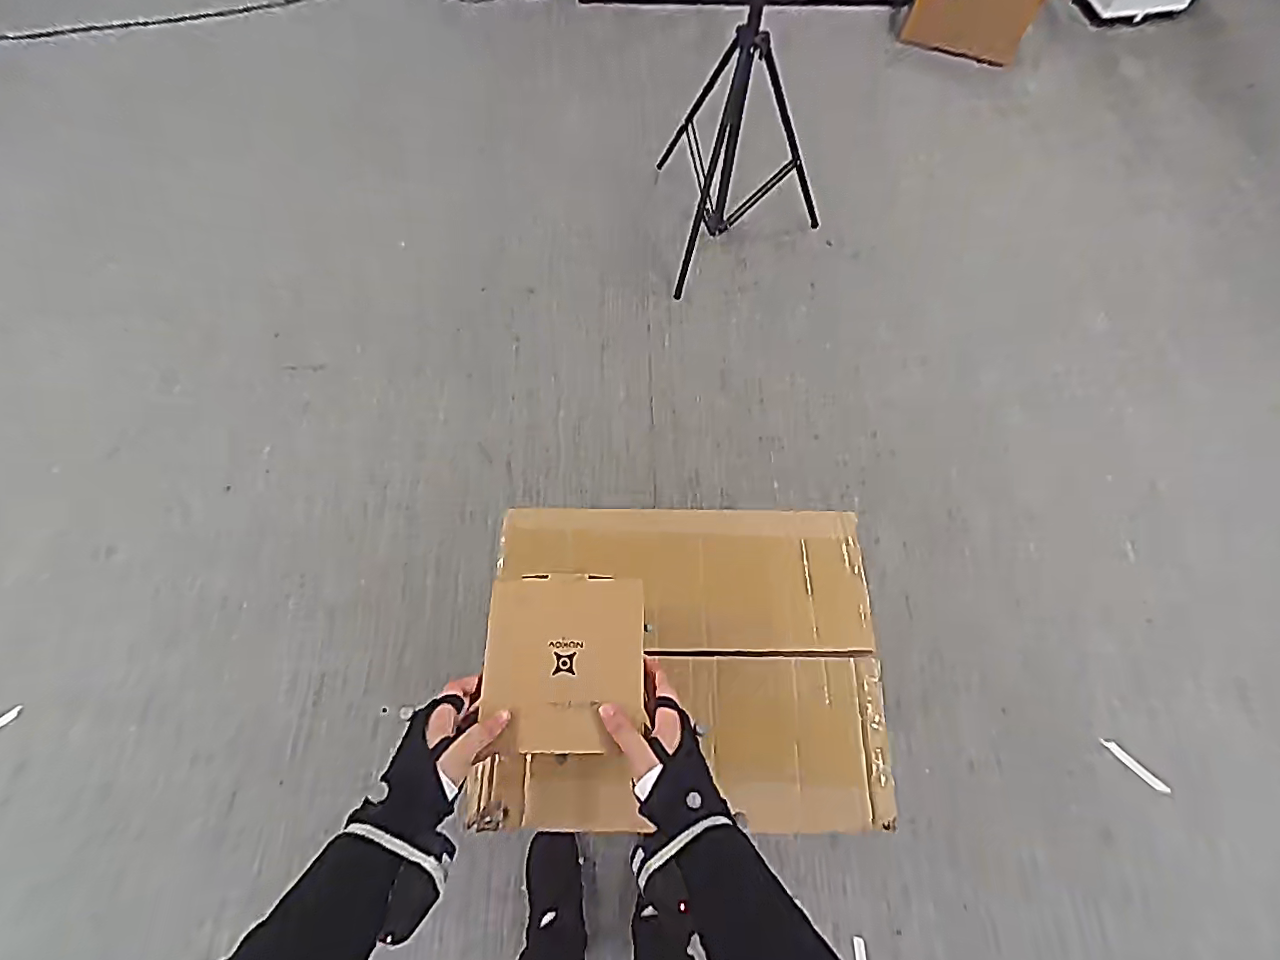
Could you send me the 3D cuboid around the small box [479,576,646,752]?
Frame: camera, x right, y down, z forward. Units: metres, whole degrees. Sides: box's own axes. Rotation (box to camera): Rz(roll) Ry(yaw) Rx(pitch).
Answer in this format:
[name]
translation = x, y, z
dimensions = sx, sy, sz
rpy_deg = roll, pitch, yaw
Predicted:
[small box]
translation = -0.079, 0.218, 0.637
dimensions = 0.168, 0.176, 0.179
rpy_deg = 0, 67, -1
